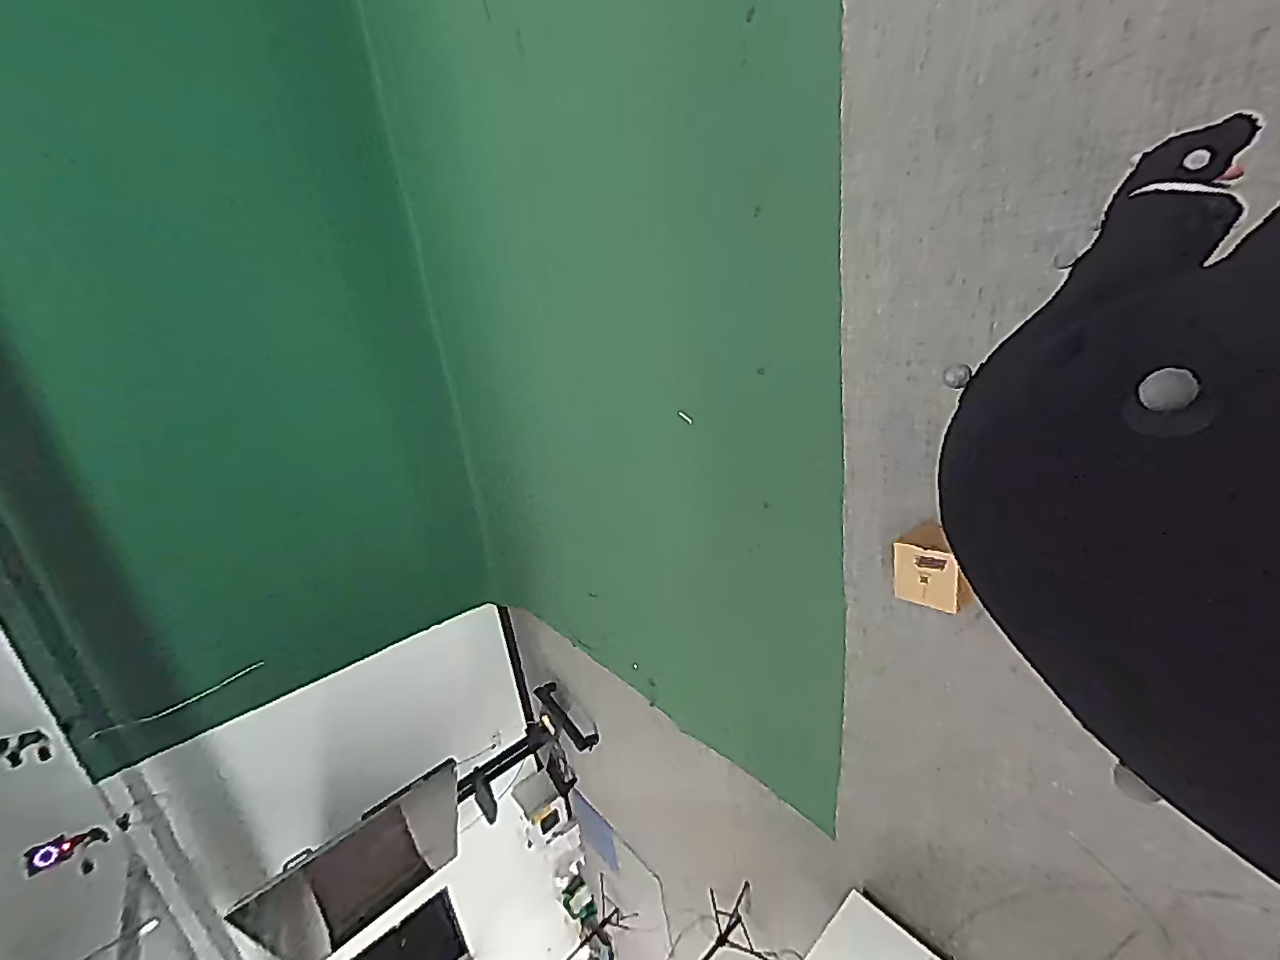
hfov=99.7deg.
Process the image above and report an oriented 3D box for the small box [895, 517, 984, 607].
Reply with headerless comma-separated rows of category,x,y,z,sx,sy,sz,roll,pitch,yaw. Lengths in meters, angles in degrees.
small box,0.825,0.216,1.488,0.168,0.176,0.179,13,118,50
